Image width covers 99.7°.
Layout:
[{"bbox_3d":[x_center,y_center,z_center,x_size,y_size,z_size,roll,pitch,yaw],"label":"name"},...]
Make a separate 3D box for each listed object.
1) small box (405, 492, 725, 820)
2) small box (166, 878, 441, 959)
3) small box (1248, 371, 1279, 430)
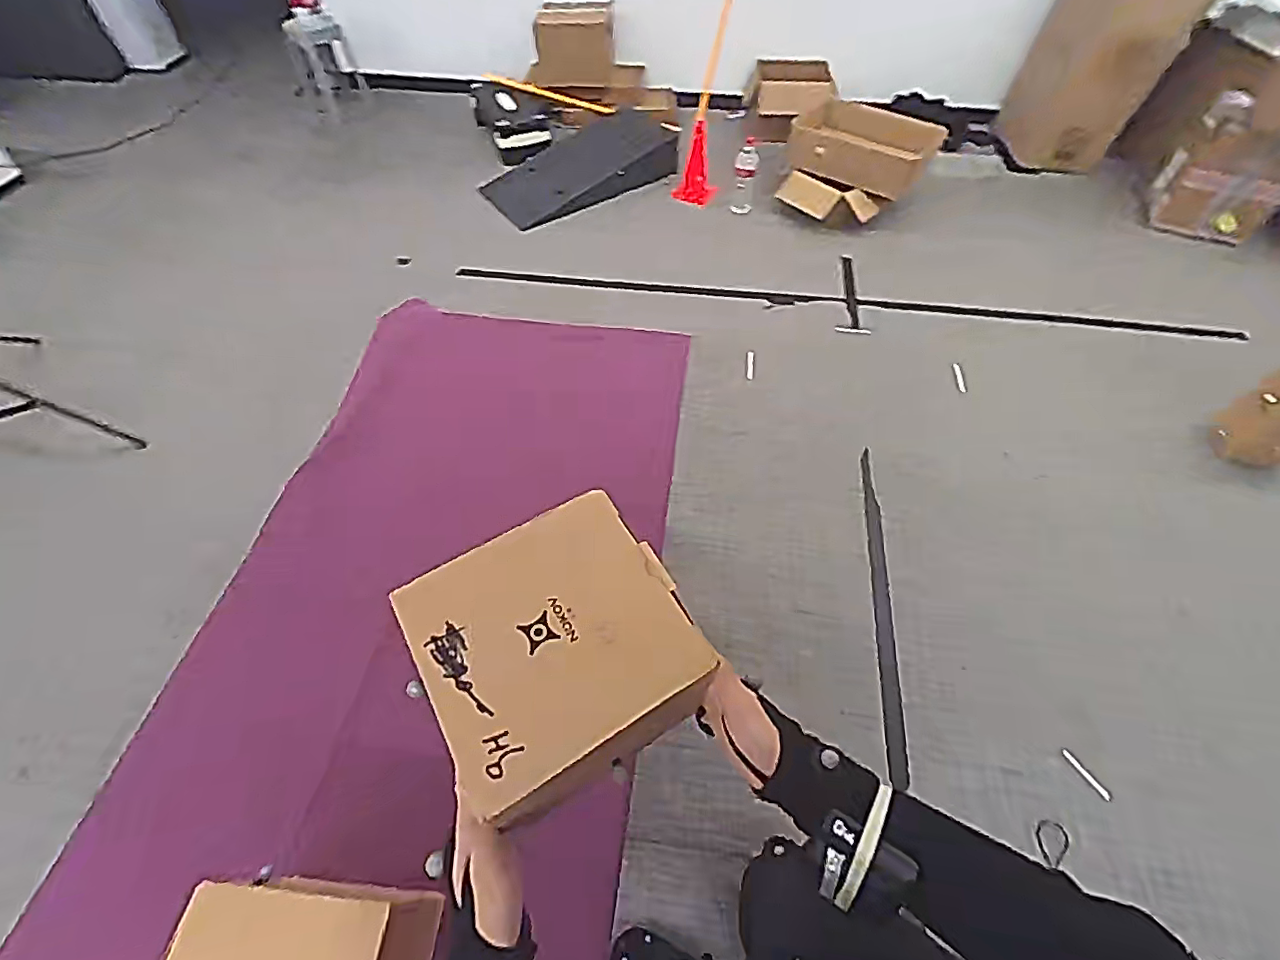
[{"bbox_3d":[-0.059,0.145,0.441,0.179,0.176,0.168,-25,60,-18],"label":"small box"},{"bbox_3d":[-0.302,0.468,0.485,0.179,0.176,0.168,3,55,3],"label":"small box"},{"bbox_3d":[2.095,-0.260,1.687,0.179,0.176,0.168,9,55,7],"label":"small box"}]
